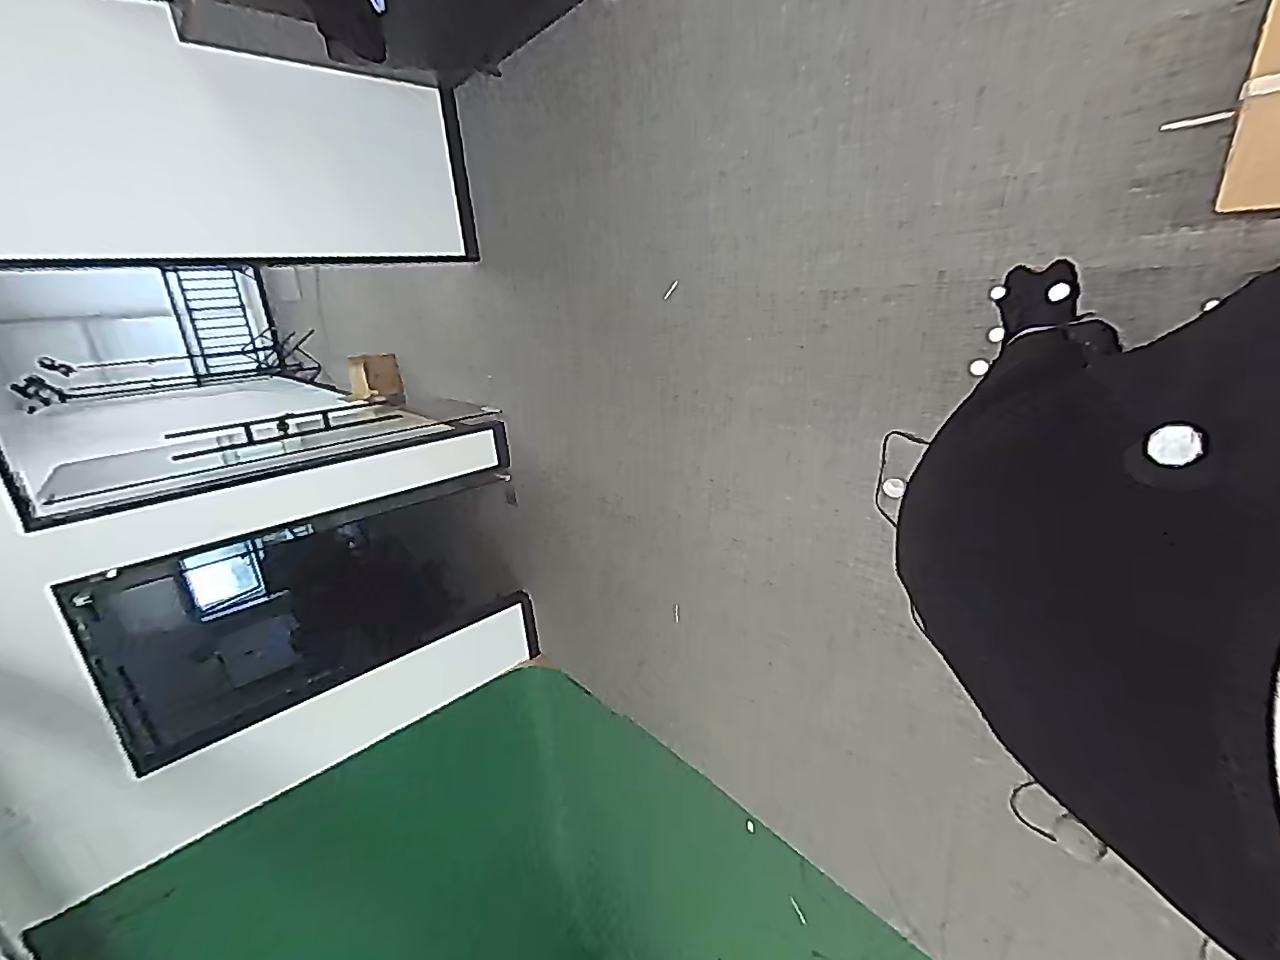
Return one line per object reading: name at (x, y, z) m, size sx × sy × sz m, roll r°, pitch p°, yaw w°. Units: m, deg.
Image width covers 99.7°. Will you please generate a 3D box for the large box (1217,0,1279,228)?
large box at (1.077, -0.525, 0.696) m, size 0.408 × 0.320 × 0.320 m, roll 18°, pitch 118°, yaw 45°
